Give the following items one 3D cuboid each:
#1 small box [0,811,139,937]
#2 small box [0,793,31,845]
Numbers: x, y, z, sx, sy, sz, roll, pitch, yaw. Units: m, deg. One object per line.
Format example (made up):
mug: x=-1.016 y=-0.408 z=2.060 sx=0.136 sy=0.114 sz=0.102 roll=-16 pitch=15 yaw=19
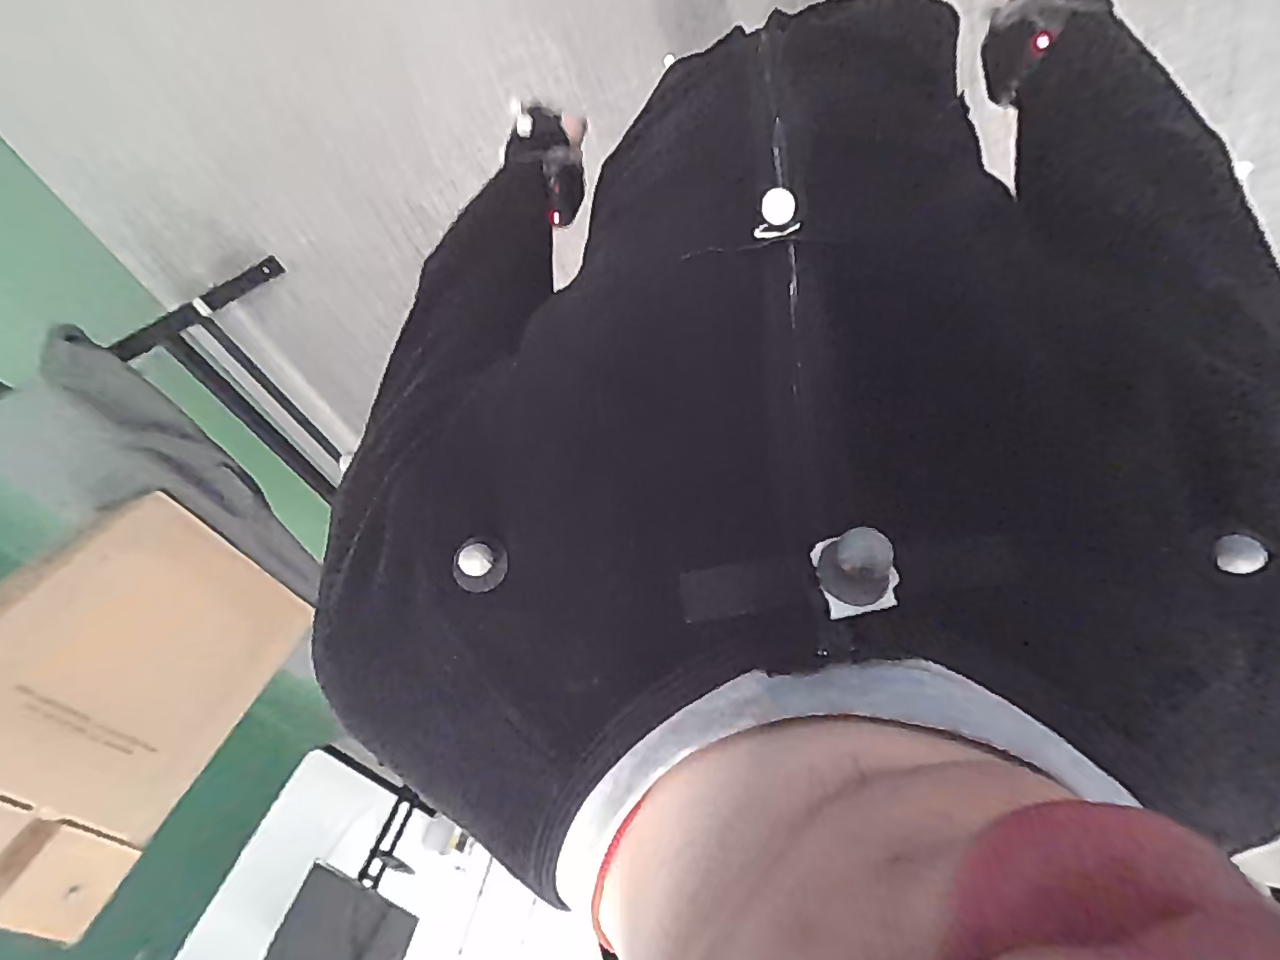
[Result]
small box: x=-1.236 y=0.828 z=1.142 sx=0.168 sy=0.176 sz=0.179 roll=-12 pitch=129 yaw=25
small box: x=-1.339 y=0.674 z=1.021 sx=0.179 sy=0.176 sz=0.168 roll=-13 pitch=127 yaw=25
